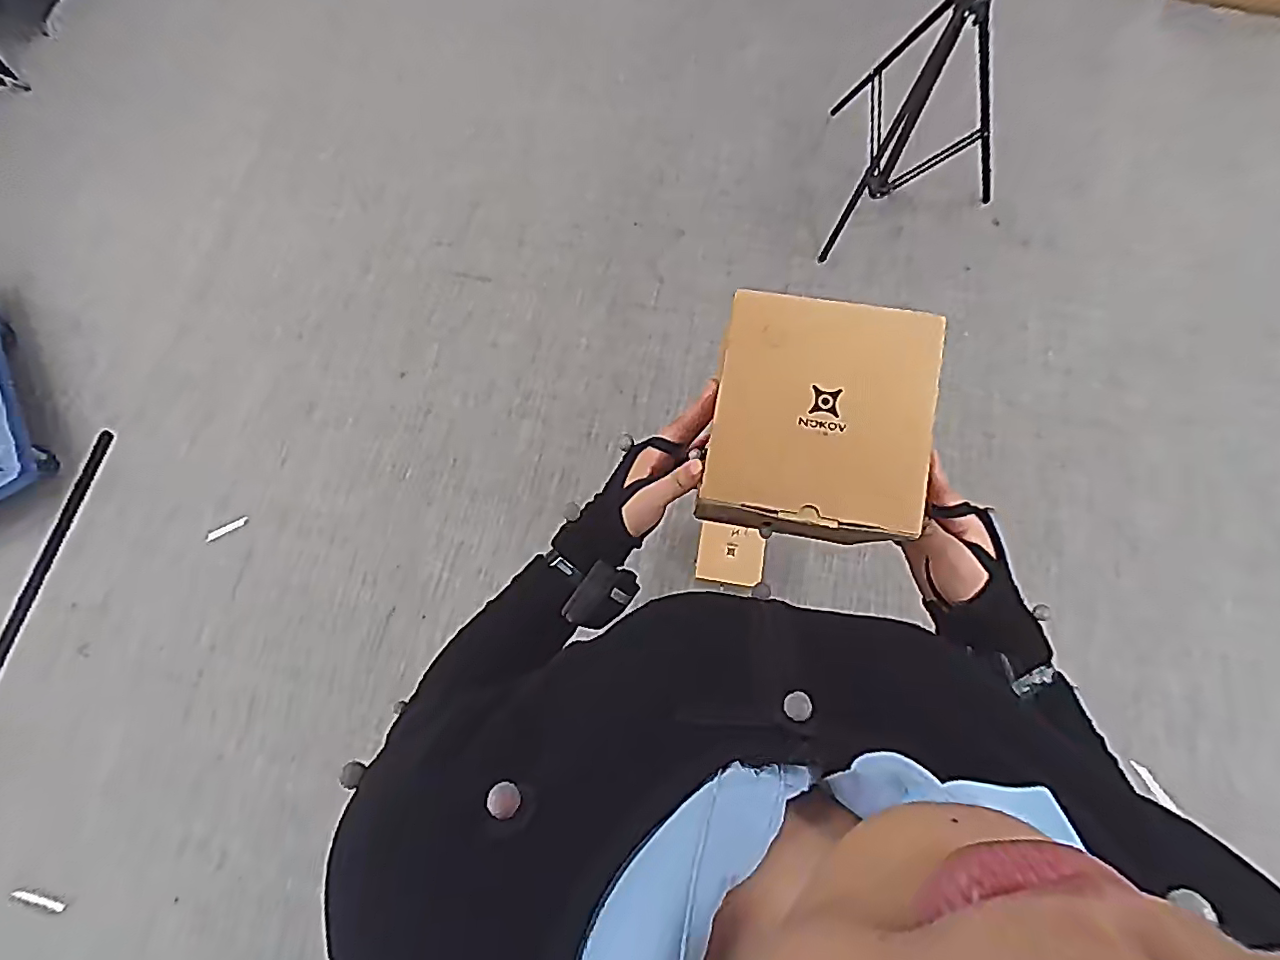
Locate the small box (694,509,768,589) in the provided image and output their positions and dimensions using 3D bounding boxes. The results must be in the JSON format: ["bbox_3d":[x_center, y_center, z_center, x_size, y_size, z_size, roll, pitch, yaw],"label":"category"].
[{"bbox_3d":[0.236,0.189,1.441,0.168,0.176,0.179,9,76,5],"label":"small box"}]
